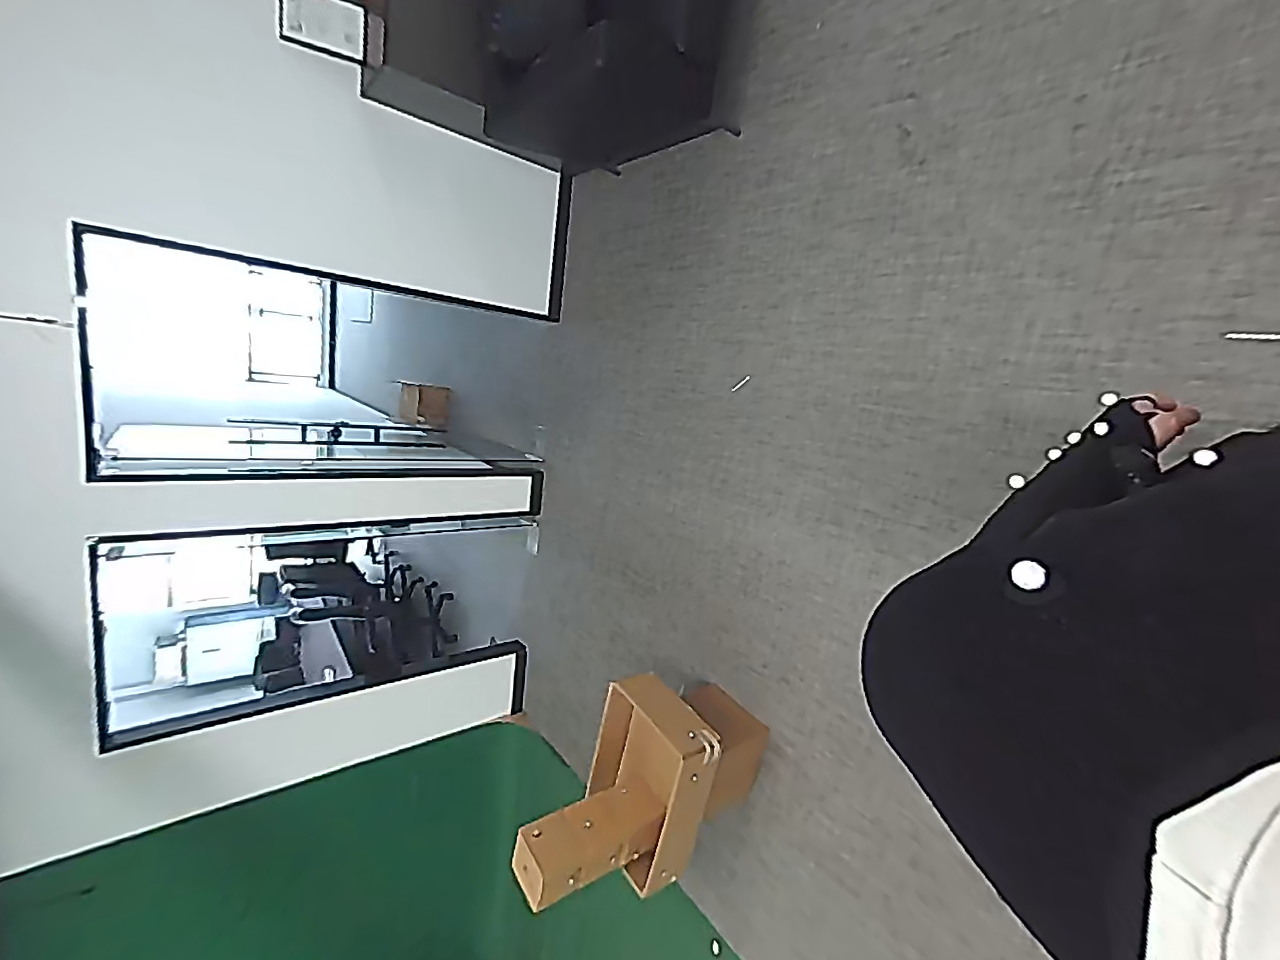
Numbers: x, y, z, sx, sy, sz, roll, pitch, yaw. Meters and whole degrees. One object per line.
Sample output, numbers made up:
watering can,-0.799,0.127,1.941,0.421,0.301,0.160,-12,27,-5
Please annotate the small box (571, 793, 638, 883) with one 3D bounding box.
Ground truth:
small box,-0.134,1.214,1.855,0.179,0.176,0.168,31,115,45

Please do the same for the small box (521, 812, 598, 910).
small box,-0.263,1.220,1.752,0.179,0.176,0.168,32,117,44
